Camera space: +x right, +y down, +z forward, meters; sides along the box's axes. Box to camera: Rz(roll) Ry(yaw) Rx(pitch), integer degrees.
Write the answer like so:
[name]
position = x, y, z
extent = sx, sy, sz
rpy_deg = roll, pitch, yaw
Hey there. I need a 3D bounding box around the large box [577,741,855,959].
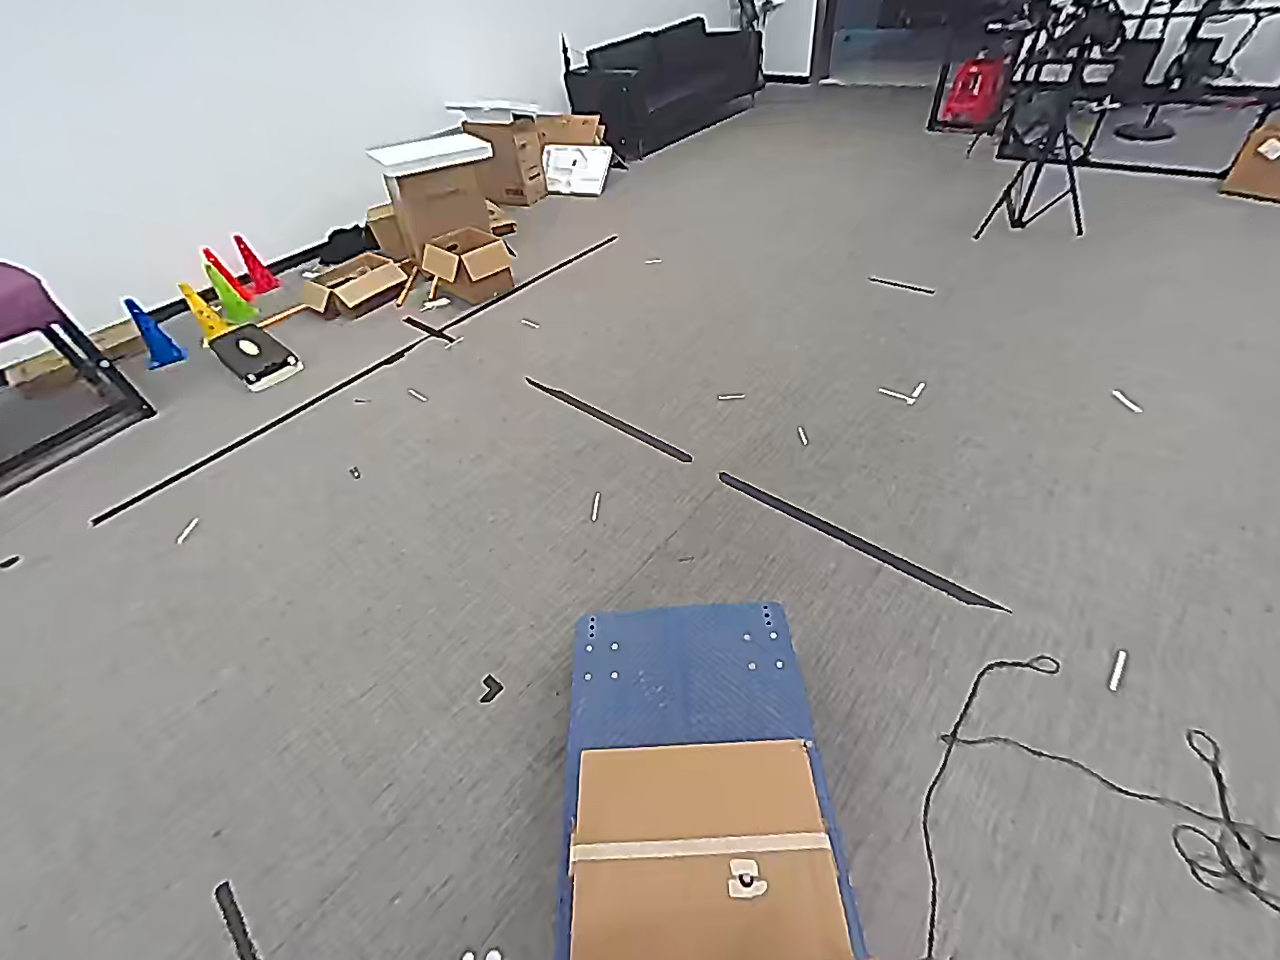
[large box]
position = 0.110, 0.697, 0.970
extent = 0.408, 0.320, 0.320
rpy_deg = -4, 45, 2
